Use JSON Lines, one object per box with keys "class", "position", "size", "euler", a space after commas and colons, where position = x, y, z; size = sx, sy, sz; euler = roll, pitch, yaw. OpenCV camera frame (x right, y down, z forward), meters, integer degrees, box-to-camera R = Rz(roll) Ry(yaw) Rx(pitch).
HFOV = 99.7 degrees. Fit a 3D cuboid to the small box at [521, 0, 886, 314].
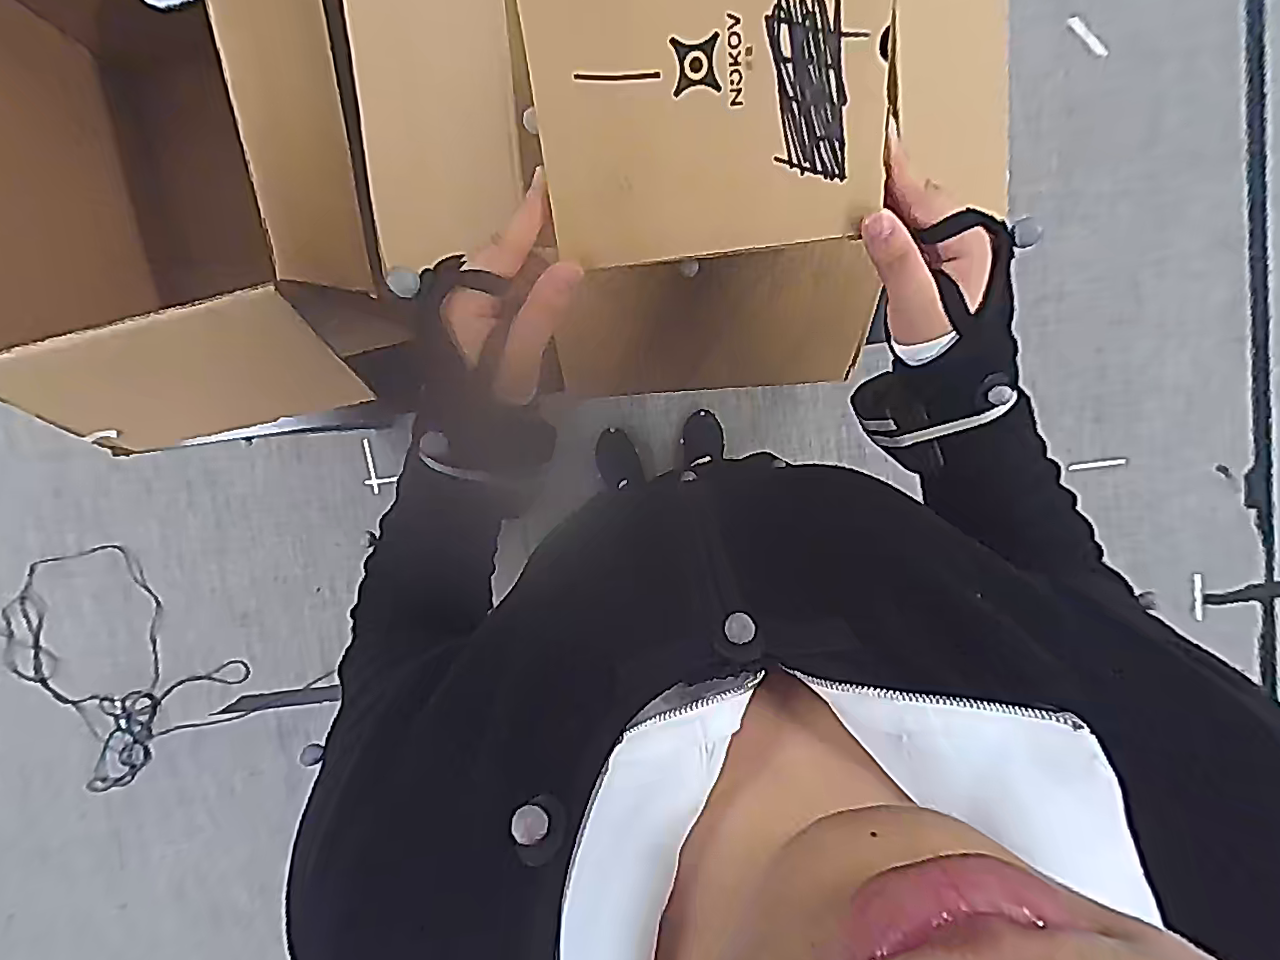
{"class": "small box", "position": [0.032, -0.212, 0.349], "size": [0.179, 0.176, 0.168], "euler": [-7, 115, 0]}
